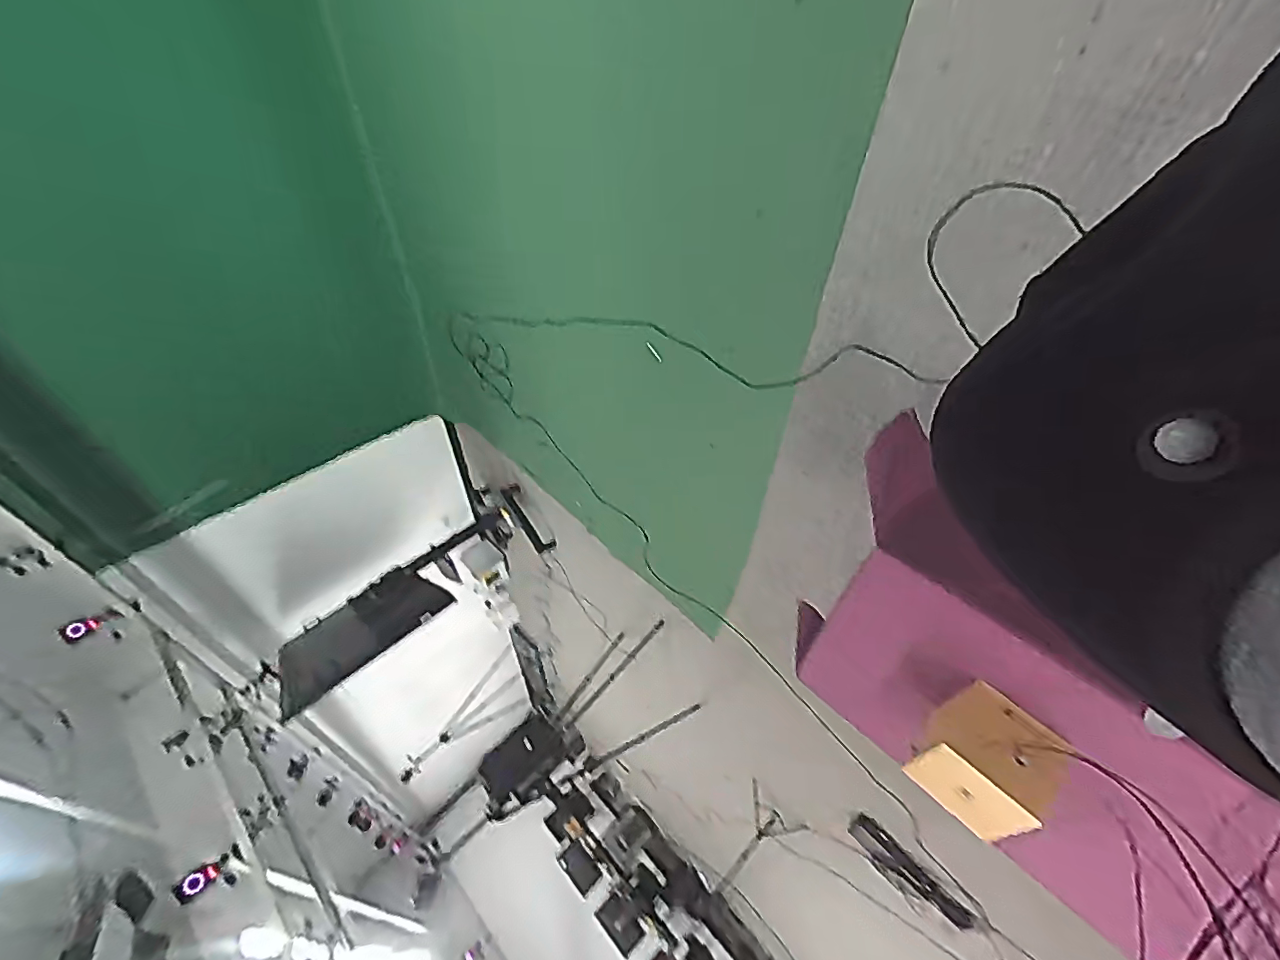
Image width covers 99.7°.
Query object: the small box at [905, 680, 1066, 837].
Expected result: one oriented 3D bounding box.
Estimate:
[{"bbox_3d":[0.625,0.497,0.979,0.168,0.176,0.179,38,147,26],"label":"small box"}]
